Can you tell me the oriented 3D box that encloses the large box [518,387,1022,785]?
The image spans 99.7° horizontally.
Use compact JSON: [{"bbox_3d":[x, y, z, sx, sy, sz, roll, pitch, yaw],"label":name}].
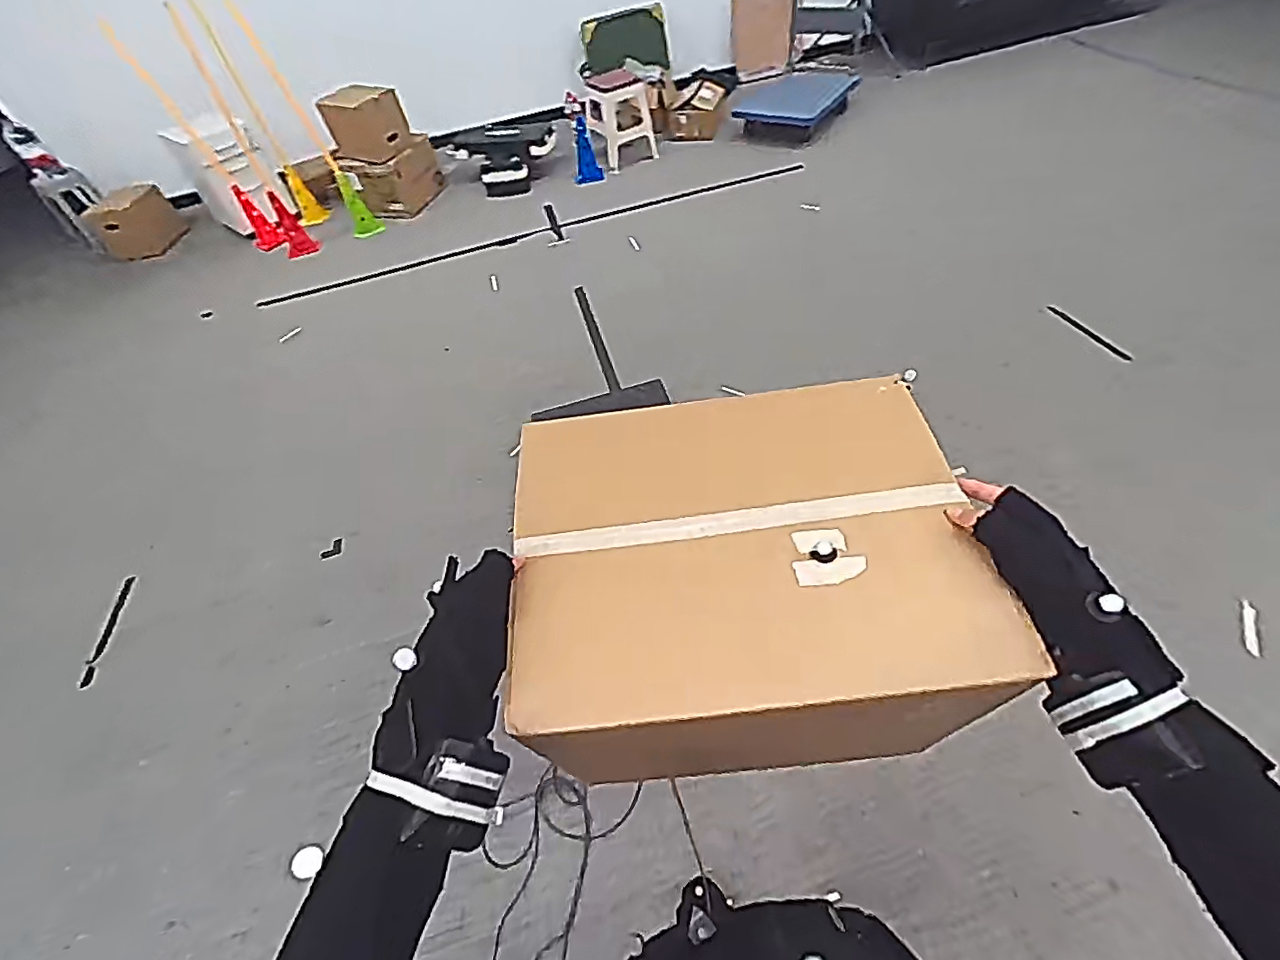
[{"bbox_3d":[0.098,0.134,0.623,0.408,0.320,0.320,-8,54,2],"label":"large box"}]
